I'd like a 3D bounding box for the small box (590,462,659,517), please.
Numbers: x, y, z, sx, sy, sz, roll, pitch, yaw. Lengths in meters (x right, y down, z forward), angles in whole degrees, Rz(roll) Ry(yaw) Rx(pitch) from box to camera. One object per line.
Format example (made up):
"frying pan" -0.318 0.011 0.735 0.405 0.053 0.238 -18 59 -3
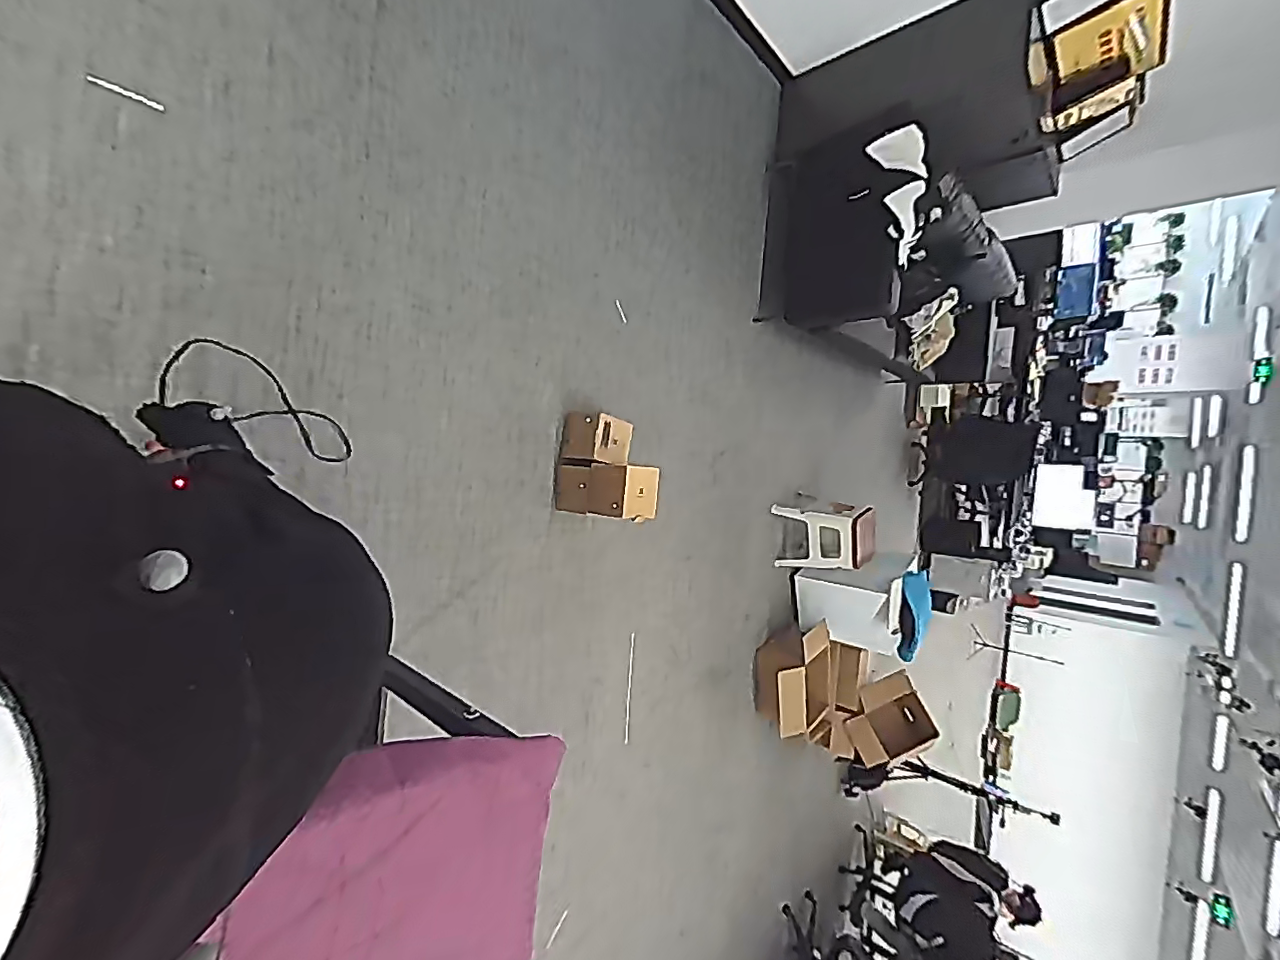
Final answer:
"small box" -0.055 0.030 1.842 0.168 0.176 0.179 2 93 -48
